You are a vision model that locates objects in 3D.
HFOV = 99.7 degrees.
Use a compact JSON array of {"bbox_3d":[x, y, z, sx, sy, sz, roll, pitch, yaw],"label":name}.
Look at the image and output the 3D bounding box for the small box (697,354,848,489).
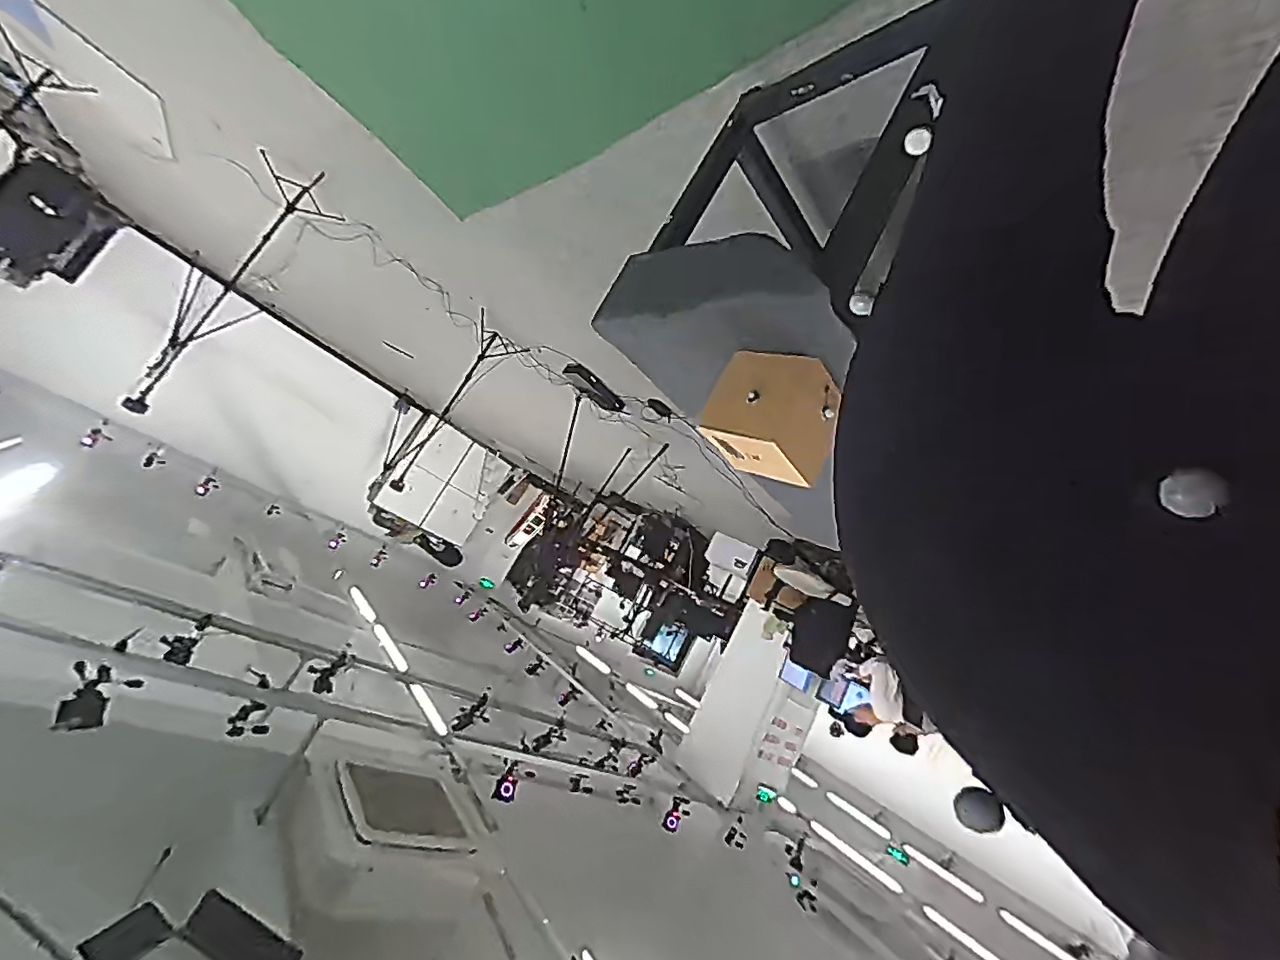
[{"bbox_3d":[0.242,-0.110,0.975,0.179,0.176,0.168,19,166,46],"label":"small box"}]
